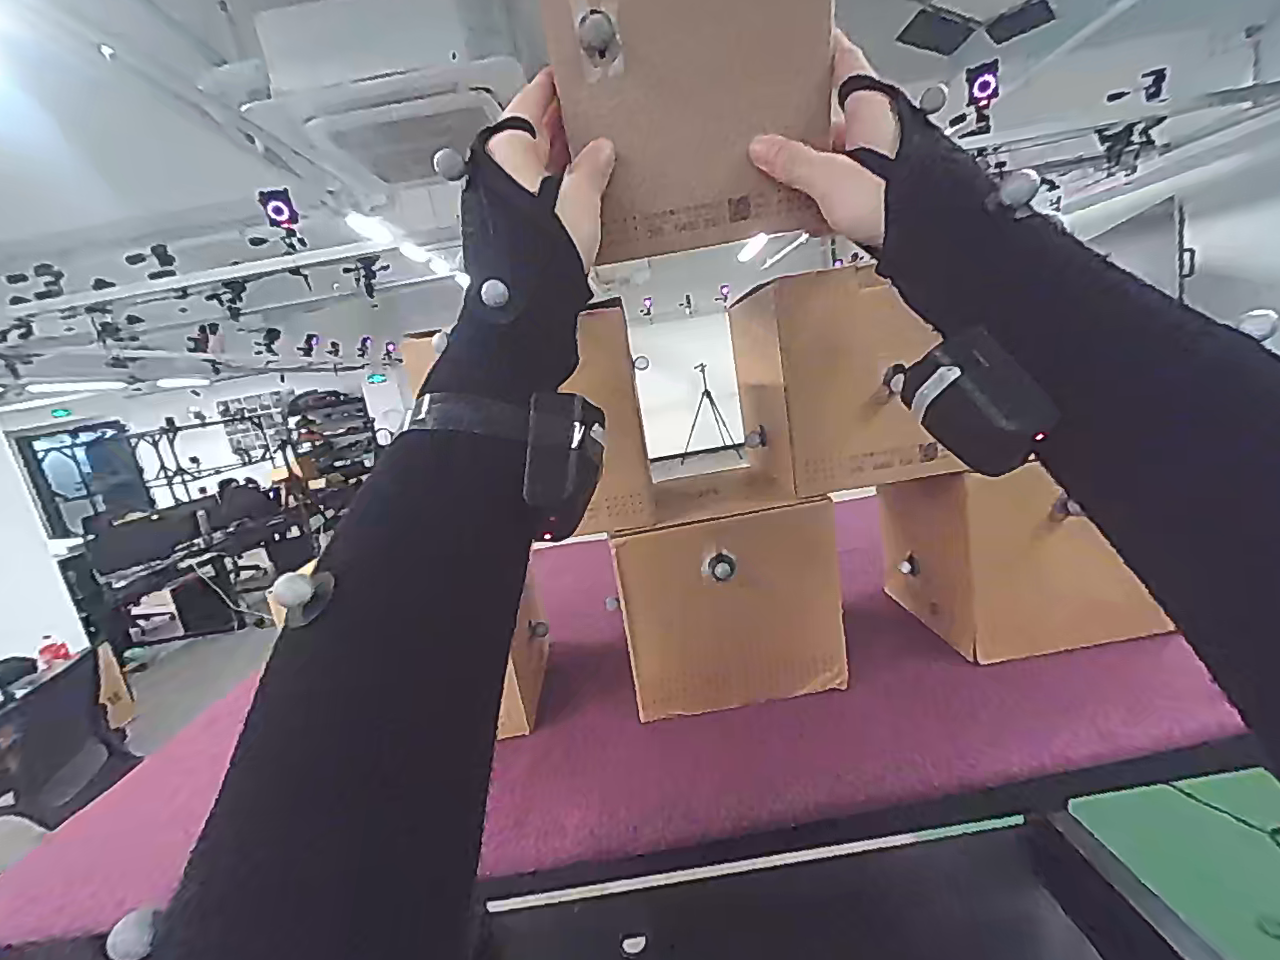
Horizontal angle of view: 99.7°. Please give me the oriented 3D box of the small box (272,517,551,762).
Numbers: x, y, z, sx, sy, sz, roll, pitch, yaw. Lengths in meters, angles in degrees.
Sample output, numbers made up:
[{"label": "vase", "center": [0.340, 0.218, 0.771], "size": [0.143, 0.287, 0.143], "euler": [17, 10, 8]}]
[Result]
[{"label": "small box", "center": [-0.195, 0.138, 0.518], "size": [0.179, 0.176, 0.168], "euler": [-11, 13, -1]}]

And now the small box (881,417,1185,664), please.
[{"label": "small box", "center": [0.344, 0.046, 0.506], "size": [0.179, 0.176, 0.168], "euler": [-12, 11, 1]}]

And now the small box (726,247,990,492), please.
[{"label": "small box", "center": [0.183, -0.090, 0.483], "size": [0.168, 0.176, 0.179], "euler": [-10, 12, 0]}]

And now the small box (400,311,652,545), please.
[{"label": "small box", "center": [-0.082, -0.045, 0.489], "size": [0.168, 0.176, 0.179], "euler": [-9, 11, 2]}]

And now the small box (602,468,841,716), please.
[{"label": "small box", "center": [0.069, 0.095, 0.506], "size": [0.179, 0.176, 0.168], "euler": [-10, 12, 1]}]
